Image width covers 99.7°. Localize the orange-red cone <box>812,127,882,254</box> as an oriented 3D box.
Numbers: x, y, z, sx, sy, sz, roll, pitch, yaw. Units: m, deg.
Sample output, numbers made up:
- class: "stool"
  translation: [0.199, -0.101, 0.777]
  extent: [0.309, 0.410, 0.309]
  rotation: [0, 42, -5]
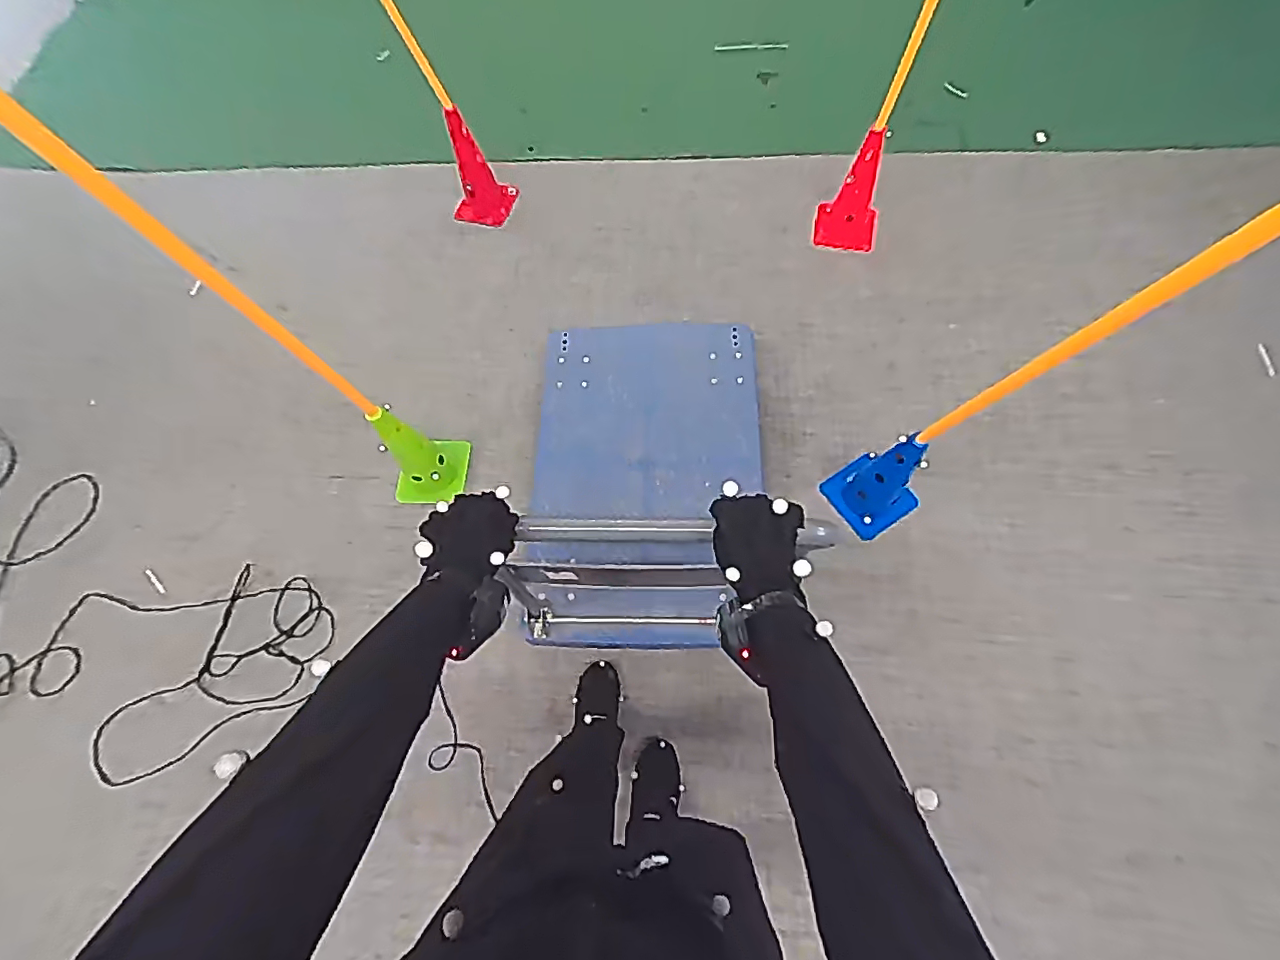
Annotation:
- class: "orange-red cone"
  translation: [0.684, -0.920, 1.690]
  extent: [0.198, 0.360, 0.199]
  rotation: [12, 70, 10]
